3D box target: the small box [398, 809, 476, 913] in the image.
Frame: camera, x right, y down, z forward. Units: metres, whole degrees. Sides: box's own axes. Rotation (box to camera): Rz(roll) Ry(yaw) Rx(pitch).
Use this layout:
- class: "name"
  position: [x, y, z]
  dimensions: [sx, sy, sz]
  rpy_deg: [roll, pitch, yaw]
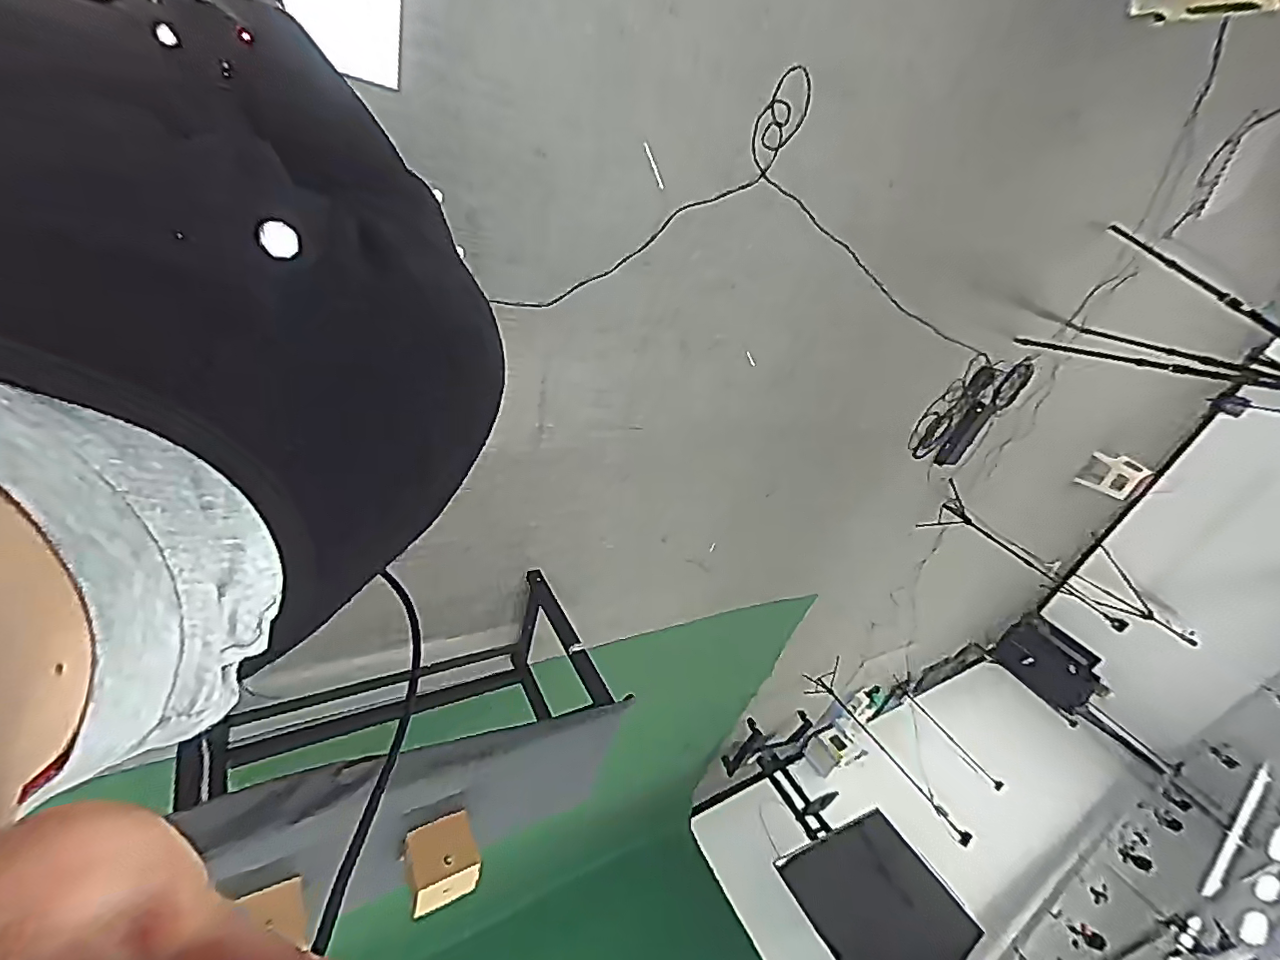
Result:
- class: "small box"
  position: [-0.607, 1.124, 1.611]
  dimensions: [0.179, 0.176, 0.168]
  rpy_deg: [-4, 125, -34]

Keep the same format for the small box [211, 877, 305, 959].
- class: "small box"
  position: [-0.959, 1.146, 1.353]
  dimensions: [0.179, 0.176, 0.168]
  rpy_deg: [1, 123, -39]
